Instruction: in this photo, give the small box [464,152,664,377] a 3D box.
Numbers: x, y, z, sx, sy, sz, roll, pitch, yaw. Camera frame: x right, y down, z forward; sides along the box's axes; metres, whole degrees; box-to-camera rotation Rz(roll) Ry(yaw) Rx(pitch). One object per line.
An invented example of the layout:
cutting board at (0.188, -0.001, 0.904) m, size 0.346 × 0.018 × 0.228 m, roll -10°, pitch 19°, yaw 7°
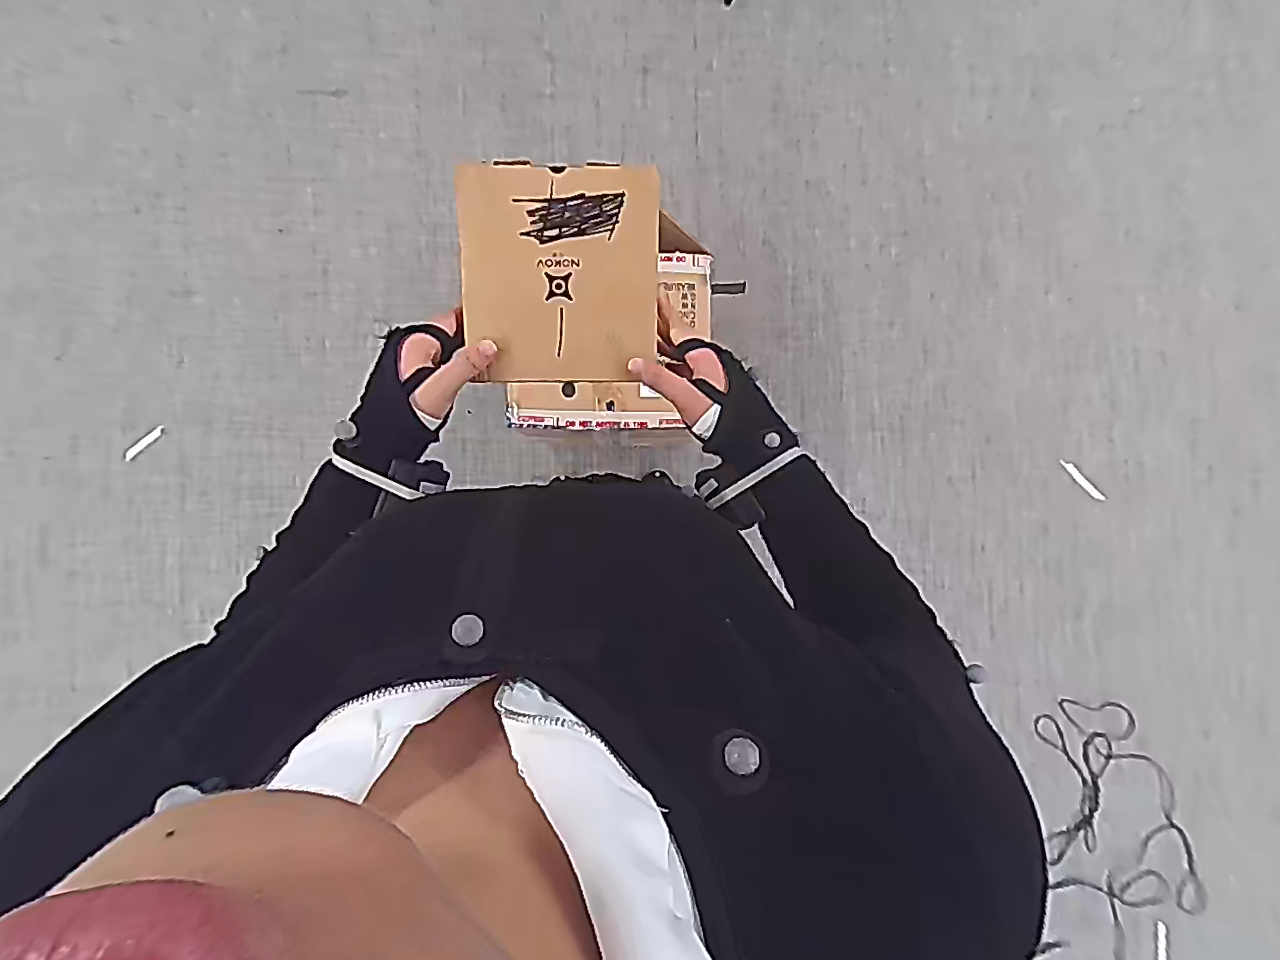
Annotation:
small box at (-0.066, -0.193, 0.531) m, size 0.168 × 0.176 × 0.179 m, roll 0°, pitch 101°, yaw -2°
